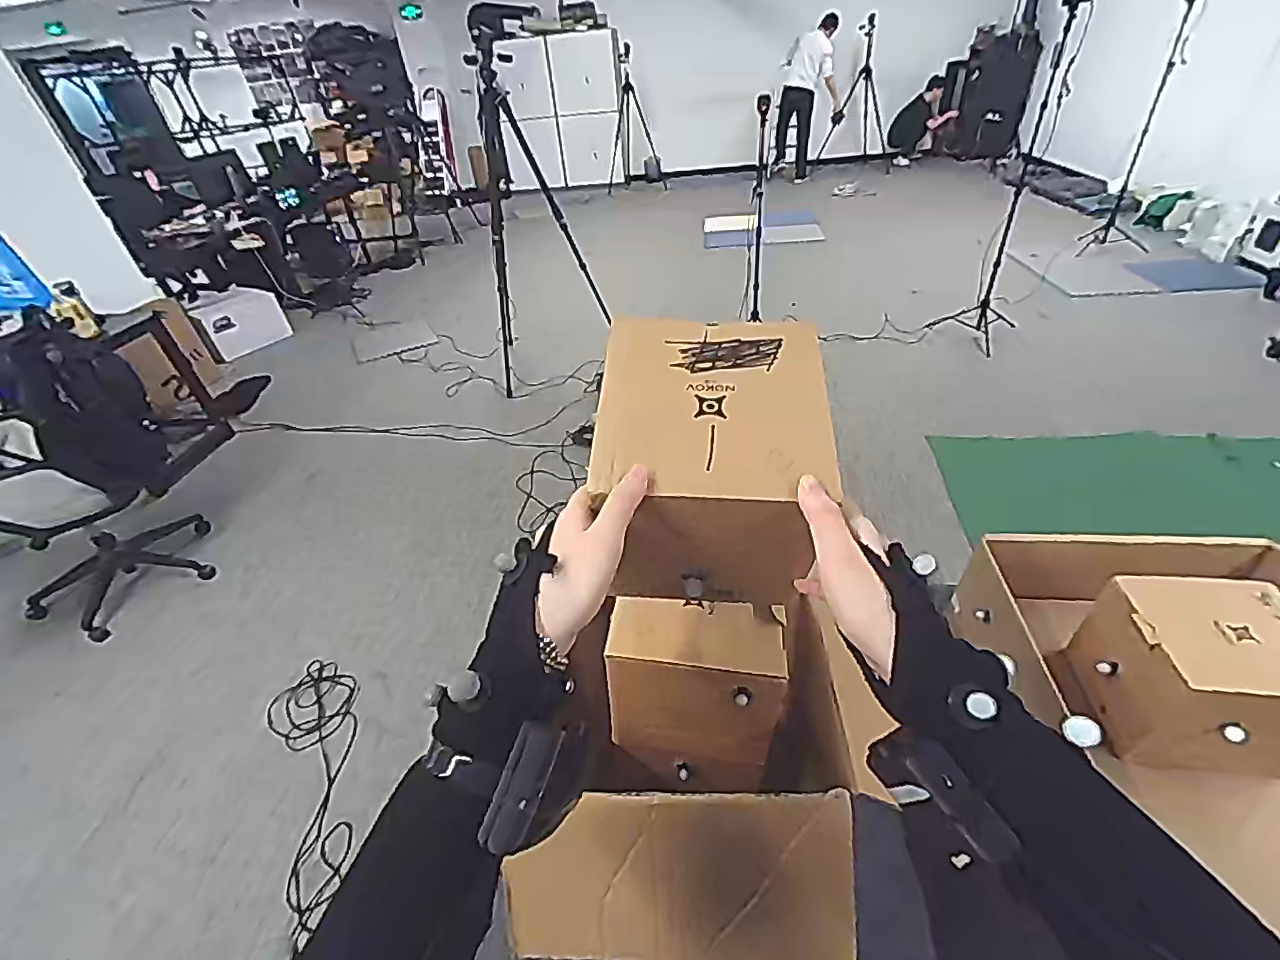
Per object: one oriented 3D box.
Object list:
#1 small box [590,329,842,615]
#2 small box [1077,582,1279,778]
[{"bbox_3d":[0.057,-0.005,0.460,0.168,0.176,0.179,2,54,5],"label":"small box"},{"bbox_3d":[0.690,0.247,0.673,0.179,0.176,0.168,0,39,12],"label":"small box"}]
